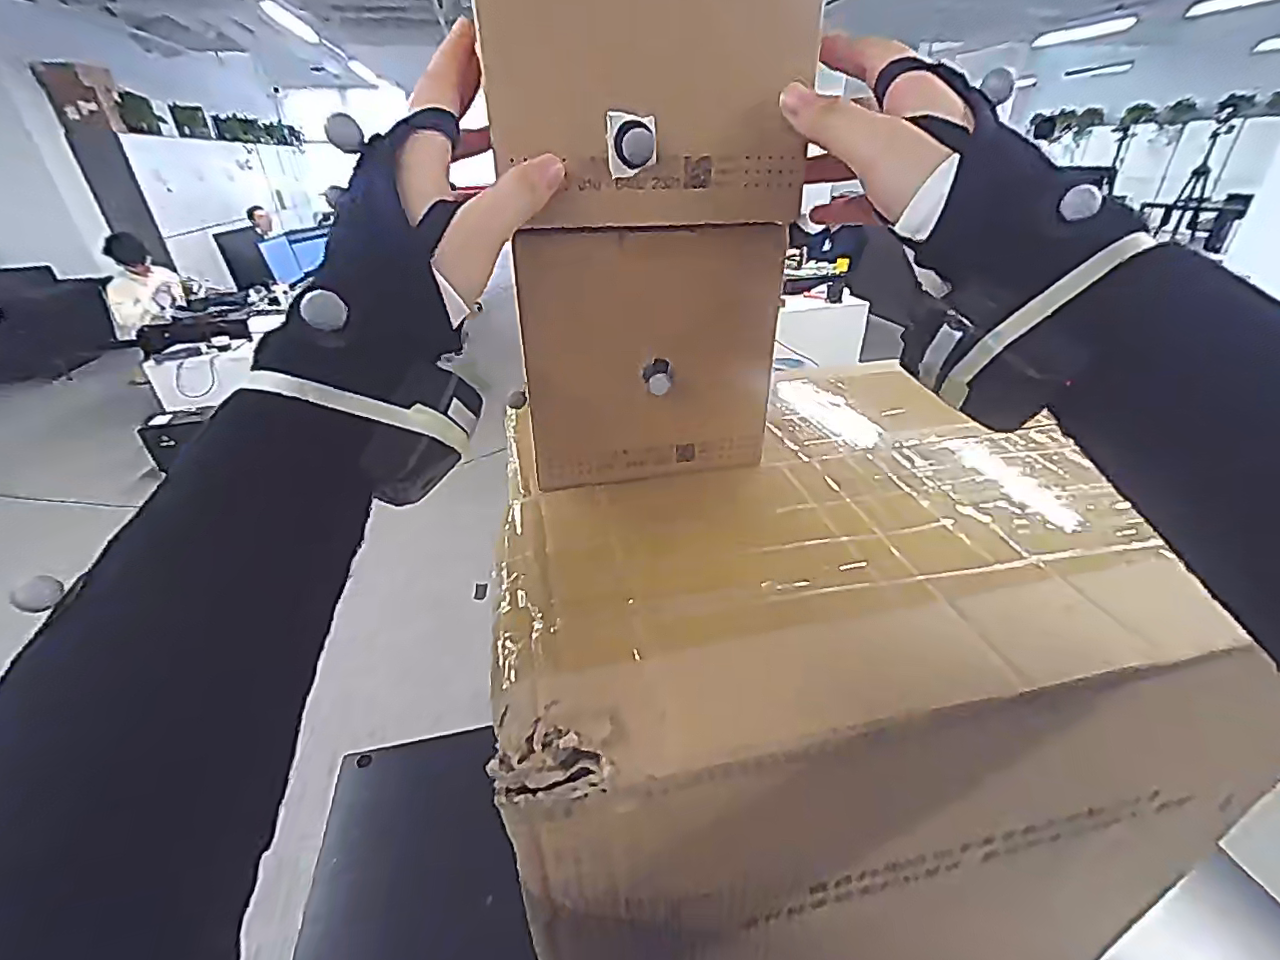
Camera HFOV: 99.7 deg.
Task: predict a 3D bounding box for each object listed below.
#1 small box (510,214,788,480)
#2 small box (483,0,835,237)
[{"bbox_3d":[-0.005,-0.109,0.416,0.168,0.176,0.179,-7,31,-10],"label":"small box"},{"bbox_3d":[-0.002,-0.243,0.321,0.168,0.176,0.179,-7,31,-8],"label":"small box"}]
